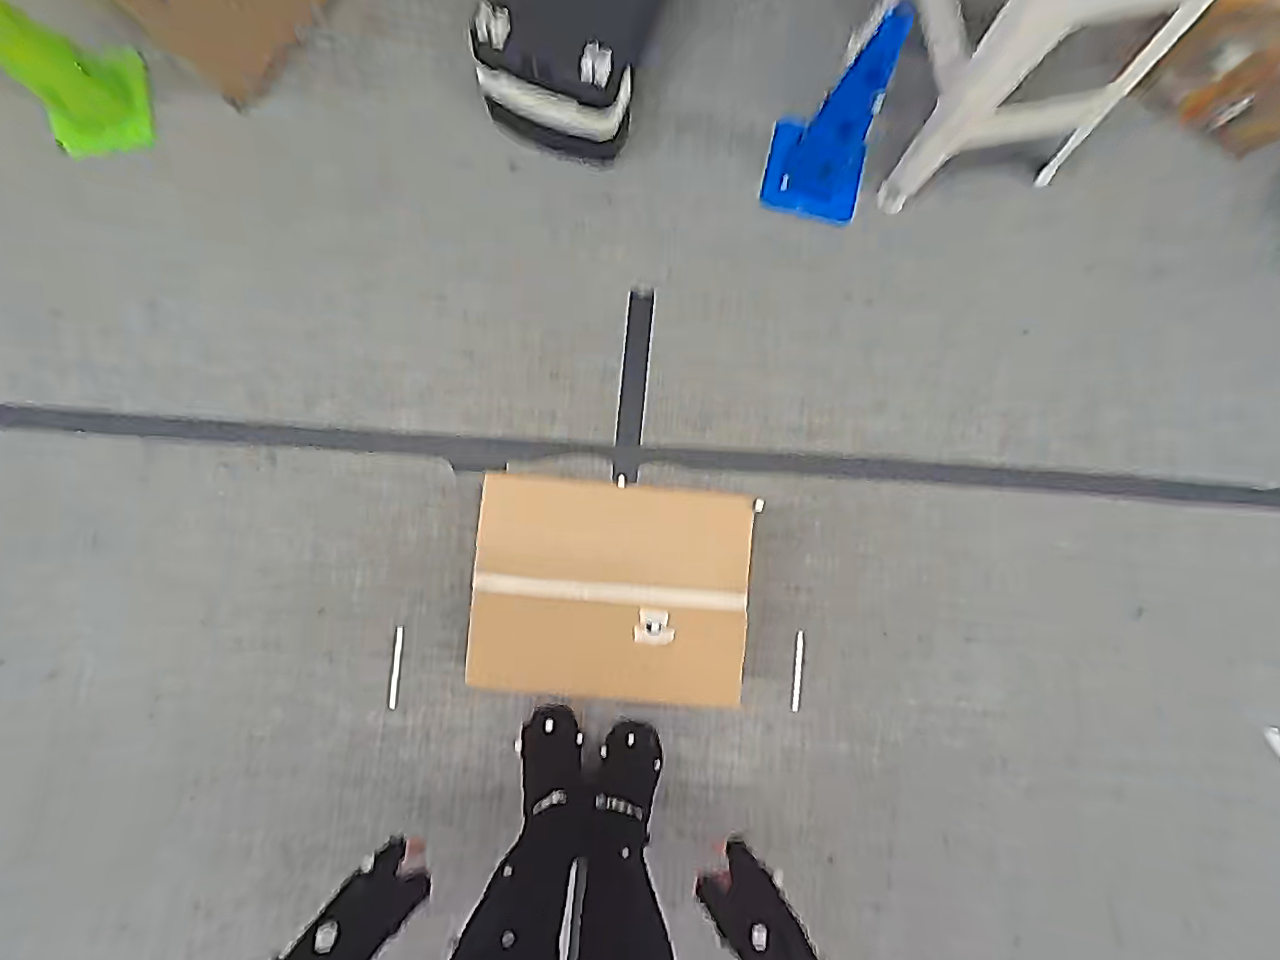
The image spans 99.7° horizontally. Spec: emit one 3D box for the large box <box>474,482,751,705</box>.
[{"bbox_3d":[-0.046,0.181,0.955,0.408,0.320,0.320,5,87,-2],"label":"large box"}]
